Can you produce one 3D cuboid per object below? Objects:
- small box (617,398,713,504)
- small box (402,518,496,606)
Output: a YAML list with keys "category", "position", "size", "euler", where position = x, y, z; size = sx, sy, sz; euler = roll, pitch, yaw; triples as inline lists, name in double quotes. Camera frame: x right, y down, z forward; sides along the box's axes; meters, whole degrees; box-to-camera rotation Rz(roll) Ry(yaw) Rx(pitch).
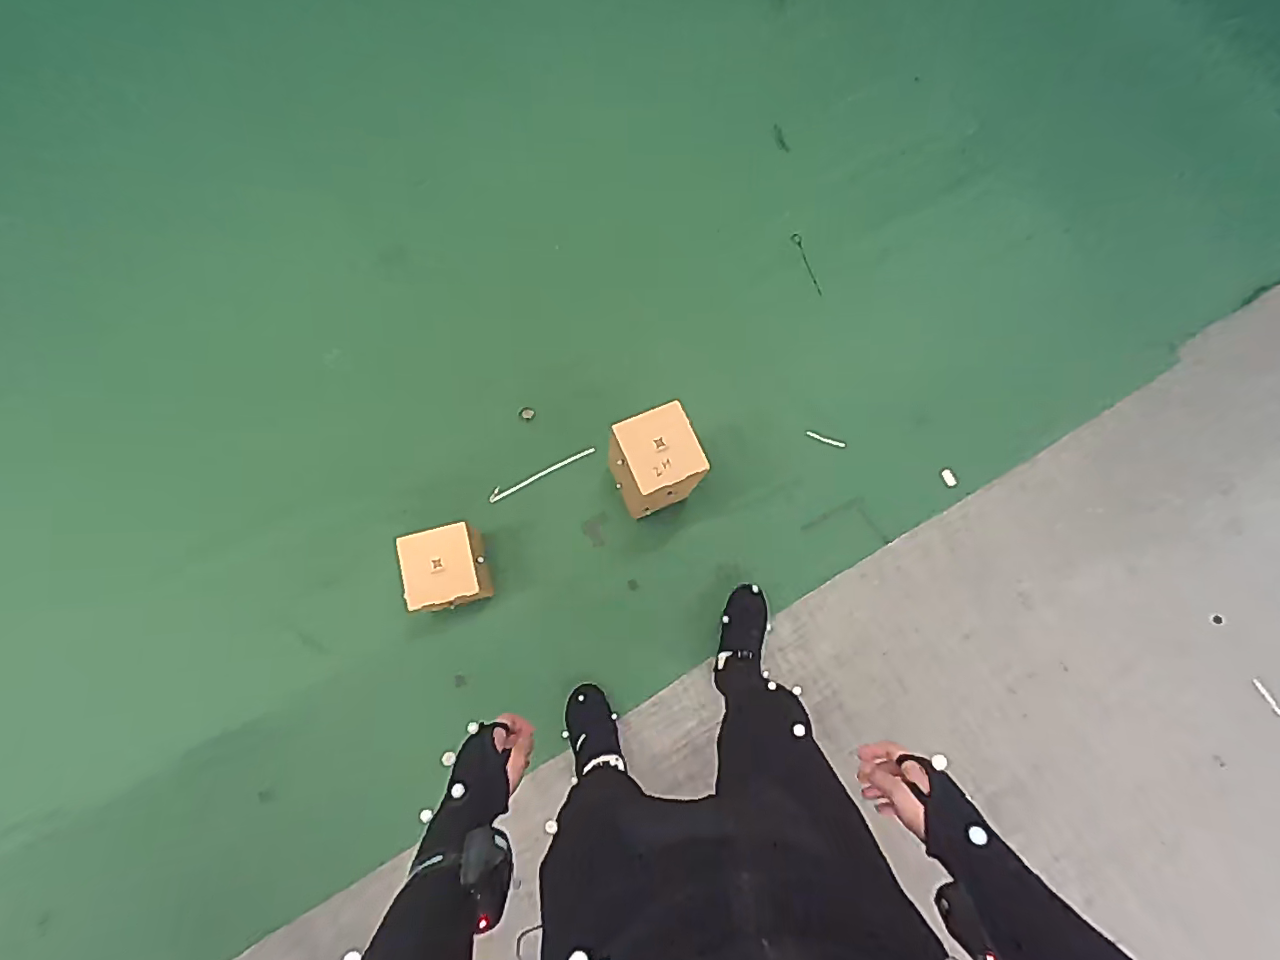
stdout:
- category: "small box"
  position: [0.049, -0.062, 1.265]
  size: [0.168, 0.176, 0.179]
  euler: [-22, 80, -8]
- category: "small box"
  position: [-0.468, 0.208, 1.343]
  size: [0.168, 0.176, 0.179]
  euler: [-14, 80, -7]
